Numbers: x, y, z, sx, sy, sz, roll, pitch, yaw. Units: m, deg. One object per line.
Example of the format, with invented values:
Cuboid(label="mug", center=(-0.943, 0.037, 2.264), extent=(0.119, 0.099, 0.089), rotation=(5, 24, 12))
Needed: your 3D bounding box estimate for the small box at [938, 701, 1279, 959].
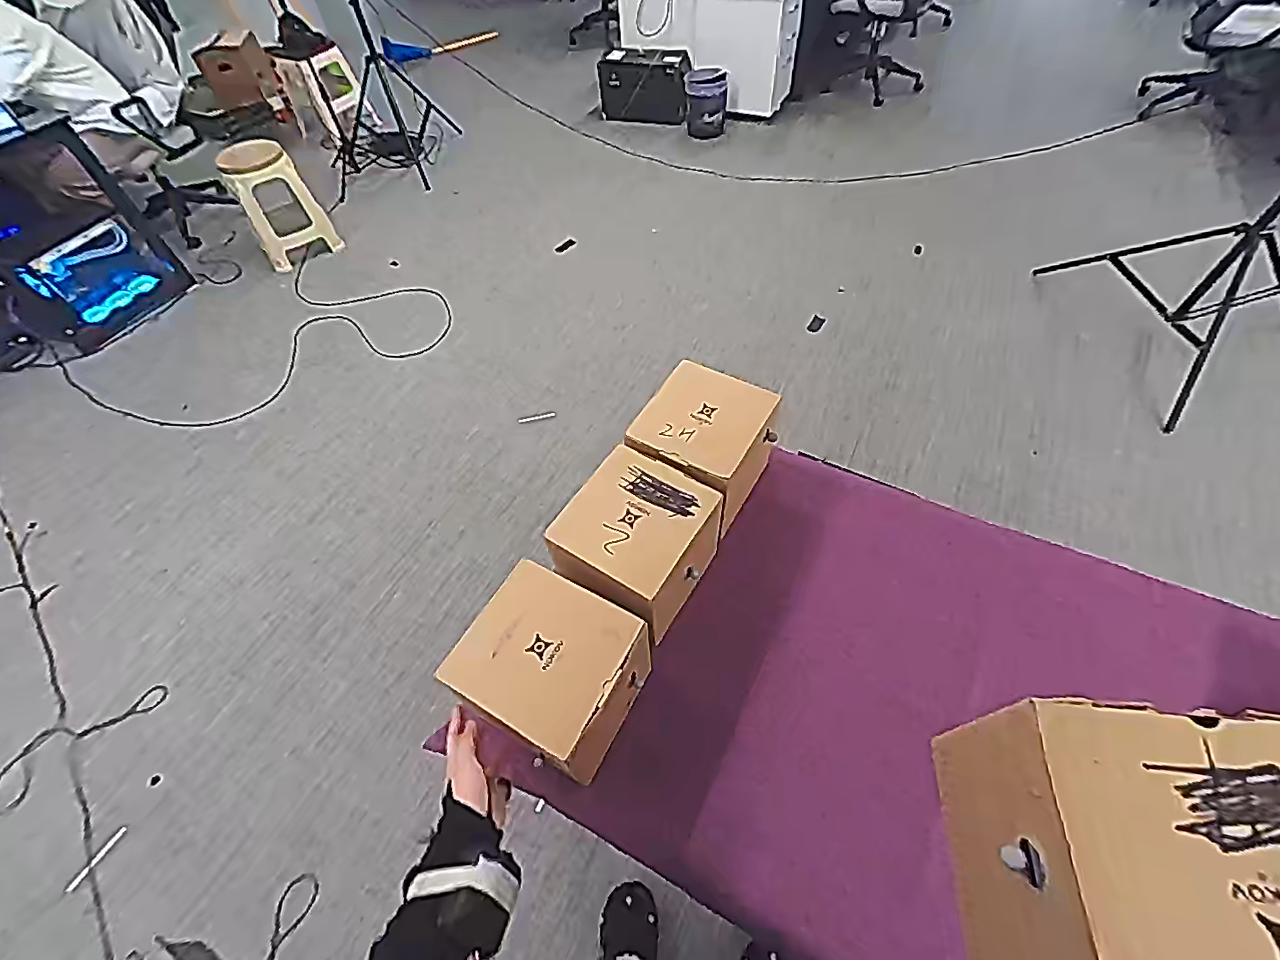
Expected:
Cuboid(label="small box", center=(0.294, 0.240, 0.307), extent=(0.168, 0.176, 0.179), rotation=(1, 58, 9))

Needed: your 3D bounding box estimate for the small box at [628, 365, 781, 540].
Cuboid(label="small box", center=(0.097, -0.040, 0.841), extent=(0.168, 0.176, 0.179), rotation=(25, 60, 21))
